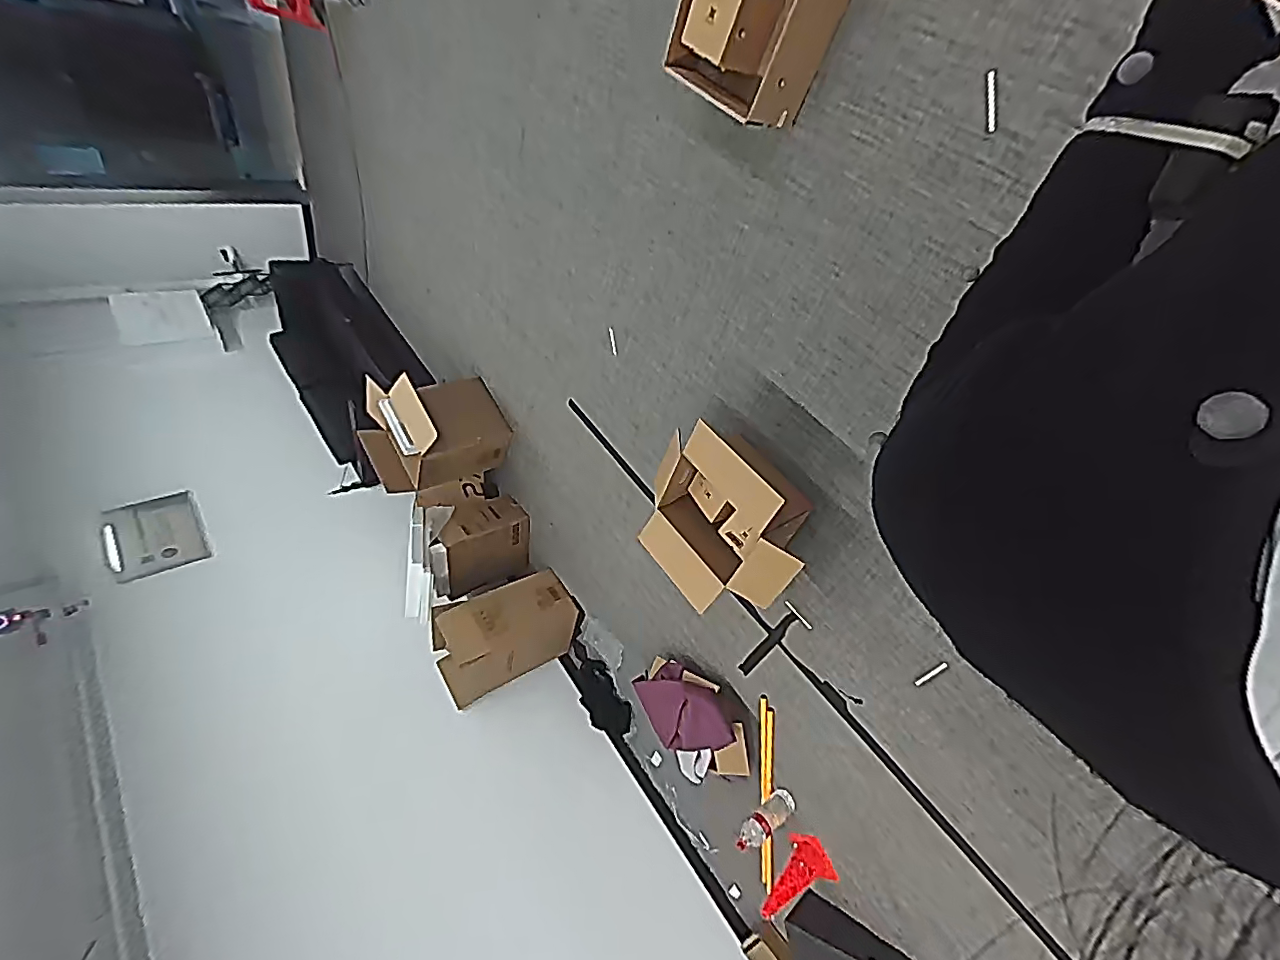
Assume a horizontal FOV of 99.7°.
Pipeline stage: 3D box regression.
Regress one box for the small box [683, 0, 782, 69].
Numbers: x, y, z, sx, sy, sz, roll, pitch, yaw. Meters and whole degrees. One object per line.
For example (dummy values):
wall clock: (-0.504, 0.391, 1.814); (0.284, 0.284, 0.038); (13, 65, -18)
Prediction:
small box: (0.253, -1.253, 1.463); (0.168, 0.176, 0.179); (50, 139, 21)
